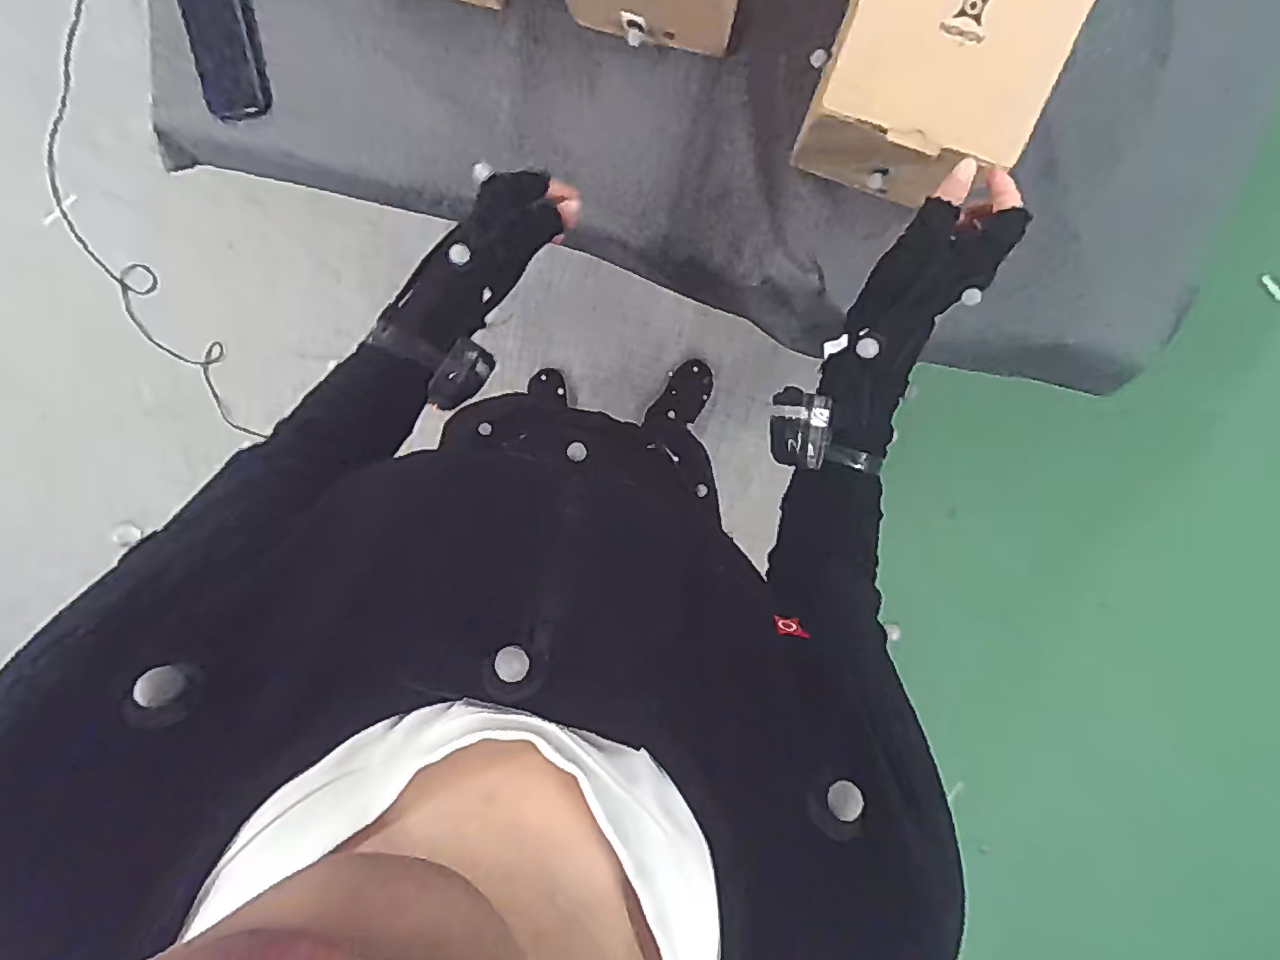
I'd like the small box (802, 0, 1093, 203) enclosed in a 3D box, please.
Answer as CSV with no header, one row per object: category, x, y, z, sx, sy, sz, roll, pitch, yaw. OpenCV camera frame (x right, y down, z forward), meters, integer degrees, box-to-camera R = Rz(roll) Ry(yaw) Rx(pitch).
small box,0.263,-0.380,0.499,0.168,0.176,0.179,19,108,0

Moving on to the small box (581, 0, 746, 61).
small box,0.028,-0.528,0.488,0.168,0.176,0.179,13,109,4
